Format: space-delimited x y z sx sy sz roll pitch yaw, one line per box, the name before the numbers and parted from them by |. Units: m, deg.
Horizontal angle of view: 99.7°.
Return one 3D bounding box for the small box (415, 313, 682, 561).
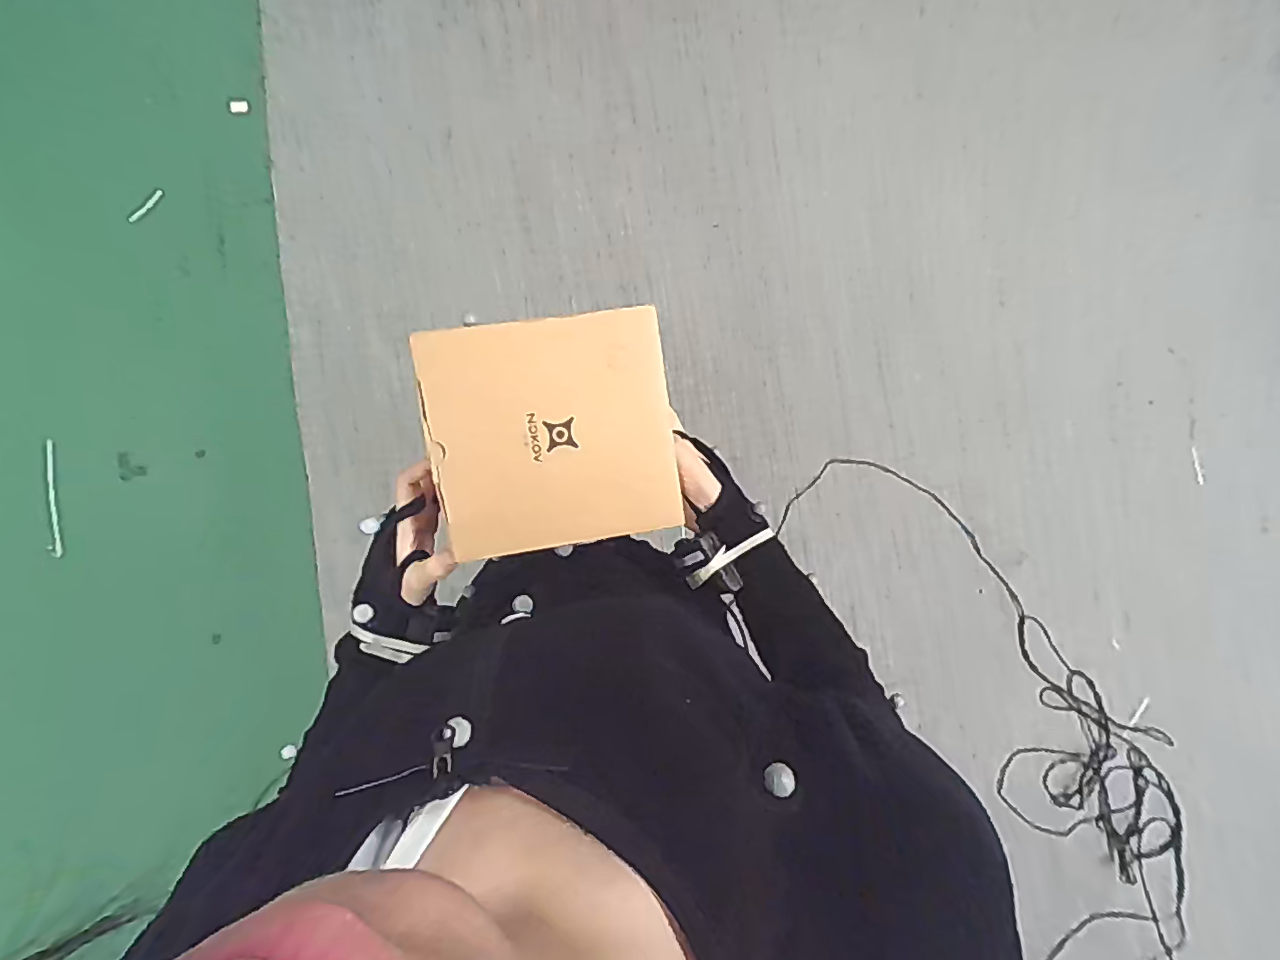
small box | -0.073 -0.042 0.476 0.179 0.176 0.168 -9 98 -5
